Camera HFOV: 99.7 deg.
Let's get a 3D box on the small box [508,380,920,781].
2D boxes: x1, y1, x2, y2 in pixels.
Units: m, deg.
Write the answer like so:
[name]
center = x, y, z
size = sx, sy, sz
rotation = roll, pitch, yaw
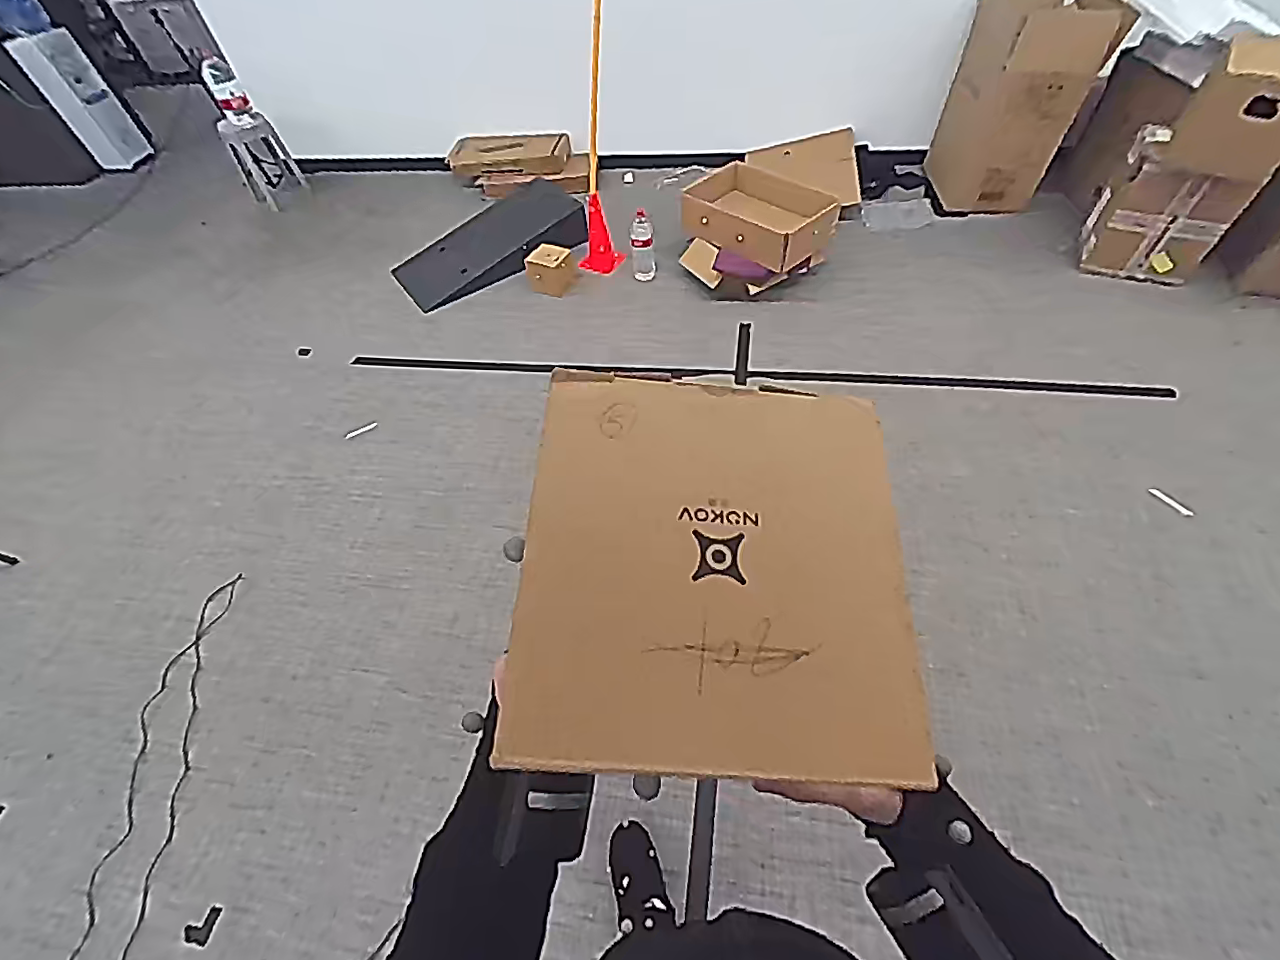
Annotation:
[small box]
center = 0.027, 0.067, 0.316
size = 0.168, 0.176, 0.179
rotation = 4, 65, -3
